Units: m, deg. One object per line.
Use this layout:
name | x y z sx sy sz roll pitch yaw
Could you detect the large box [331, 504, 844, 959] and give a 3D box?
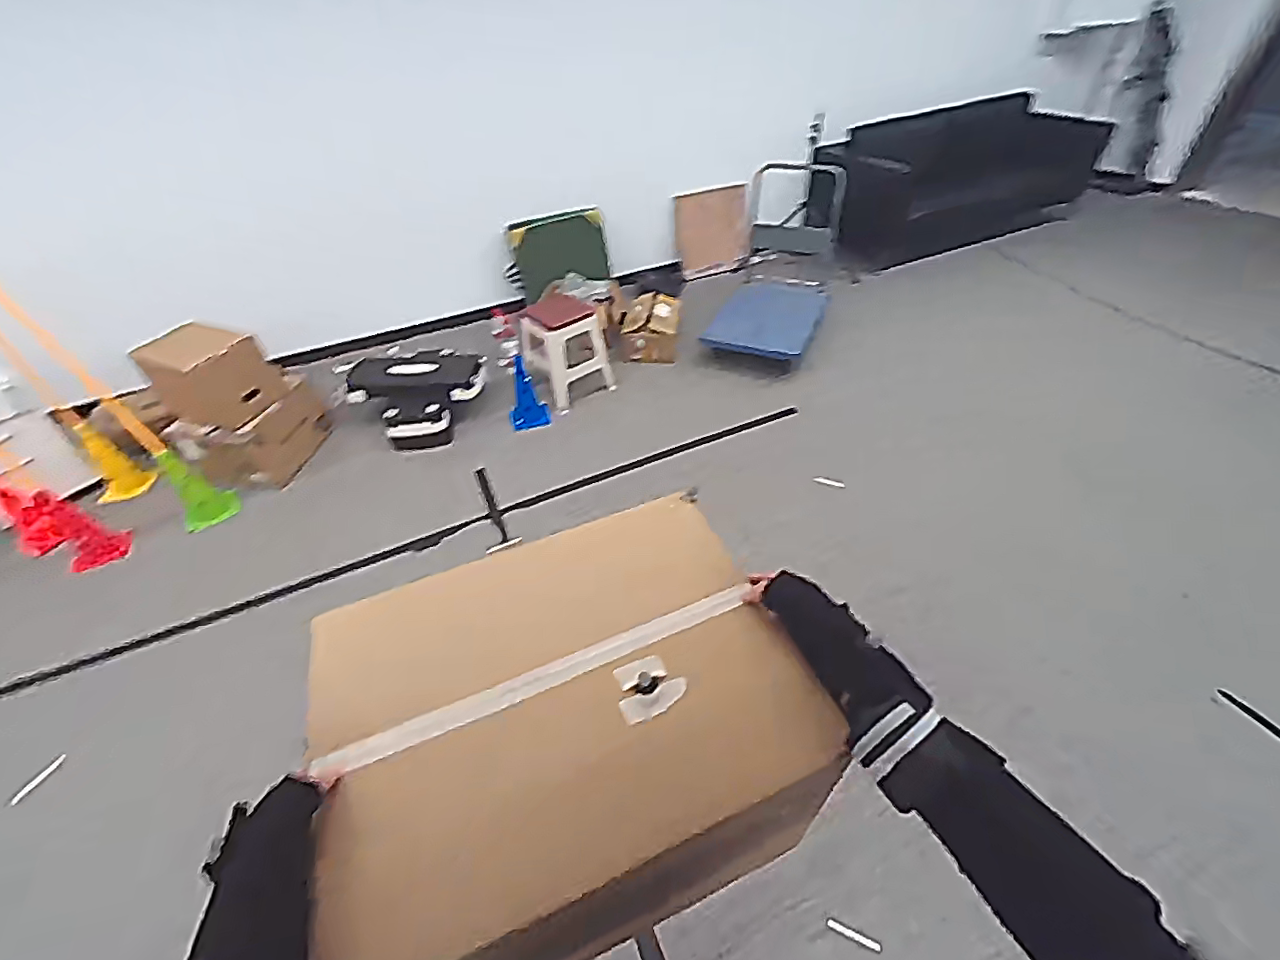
large box | -0.064 0.290 0.594 0.408 0.320 0.320 -18 46 -15
